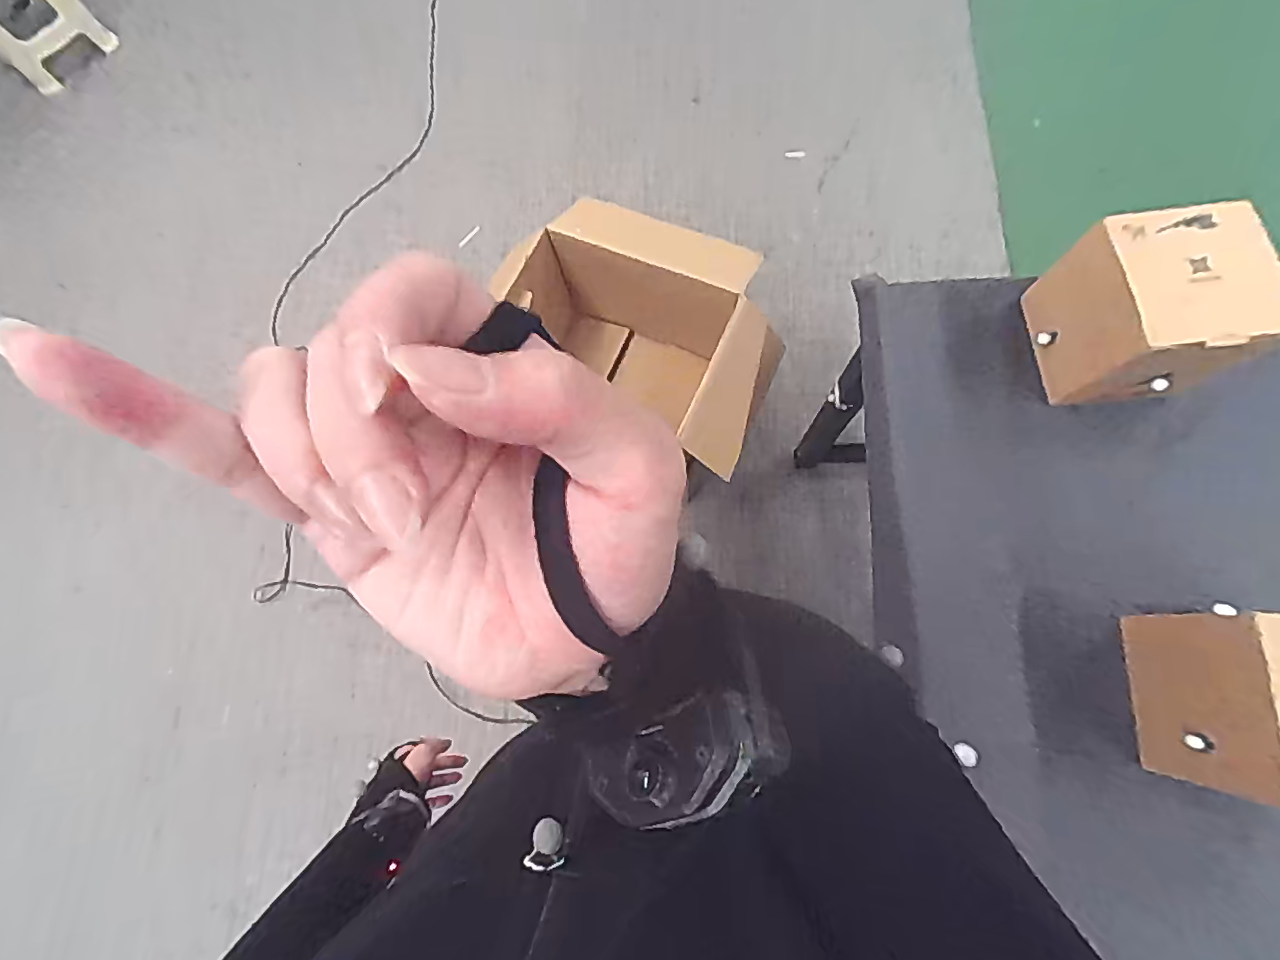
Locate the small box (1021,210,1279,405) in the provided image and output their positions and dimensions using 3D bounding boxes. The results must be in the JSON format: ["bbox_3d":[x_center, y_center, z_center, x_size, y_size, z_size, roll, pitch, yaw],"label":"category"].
[{"bbox_3d":[0.633,-0.204,0.689,0.168,0.176,0.179,-5,75,3],"label":"small box"}]

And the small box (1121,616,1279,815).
[{"bbox_3d":[0.660,0.239,0.562,0.168,0.176,0.179,3,73,4],"label":"small box"}]
